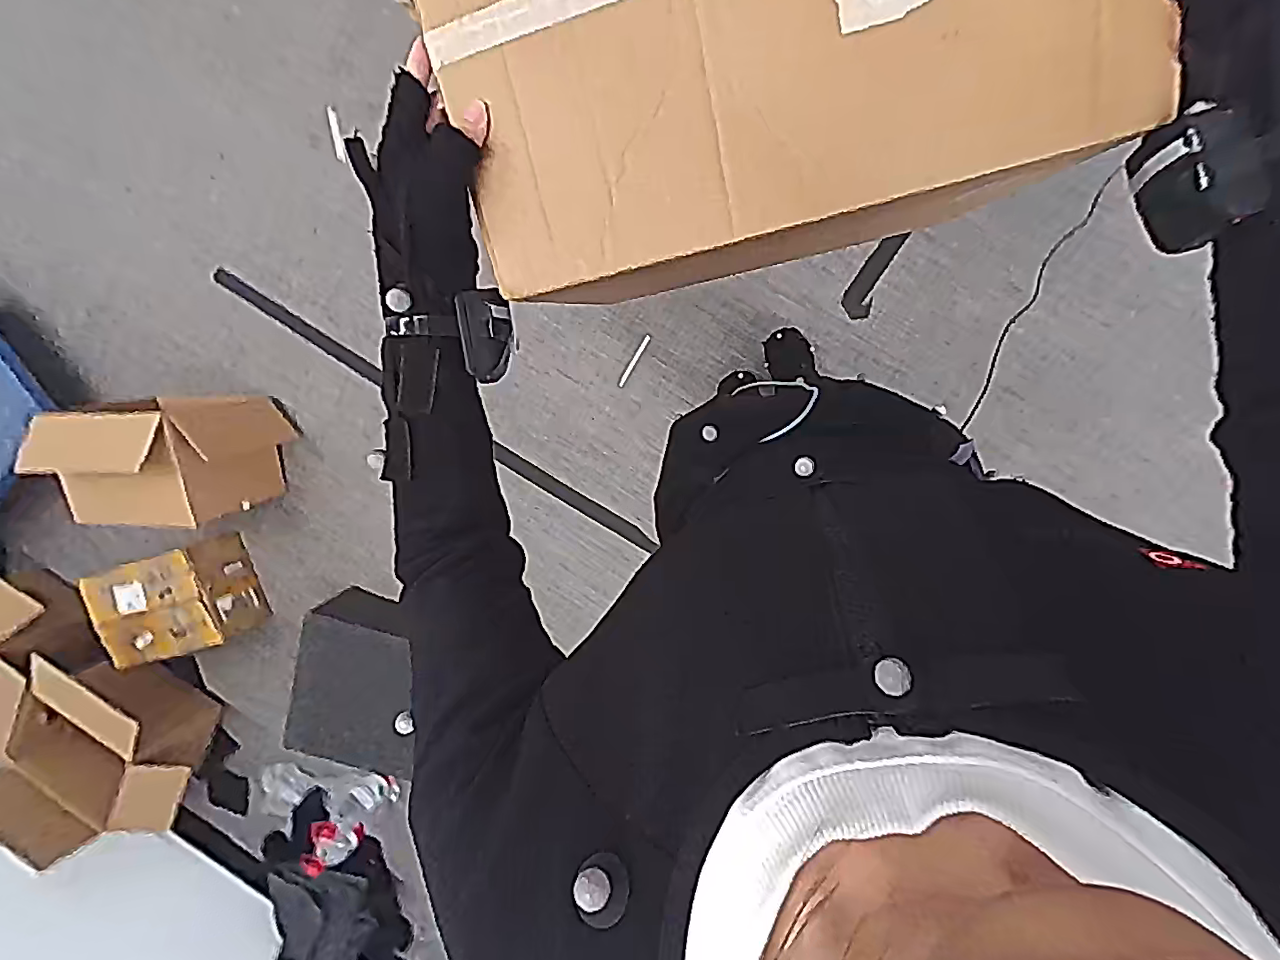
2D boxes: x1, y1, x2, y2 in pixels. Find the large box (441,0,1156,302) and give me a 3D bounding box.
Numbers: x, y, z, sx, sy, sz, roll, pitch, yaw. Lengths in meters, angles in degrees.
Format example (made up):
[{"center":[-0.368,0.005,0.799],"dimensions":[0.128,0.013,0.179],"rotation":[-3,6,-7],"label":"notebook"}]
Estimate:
[{"center":[0.090,-0.357,0.454],"dimensions":[0.408,0.320,0.320],"rotation":[-10,105,12],"label":"large box"}]
